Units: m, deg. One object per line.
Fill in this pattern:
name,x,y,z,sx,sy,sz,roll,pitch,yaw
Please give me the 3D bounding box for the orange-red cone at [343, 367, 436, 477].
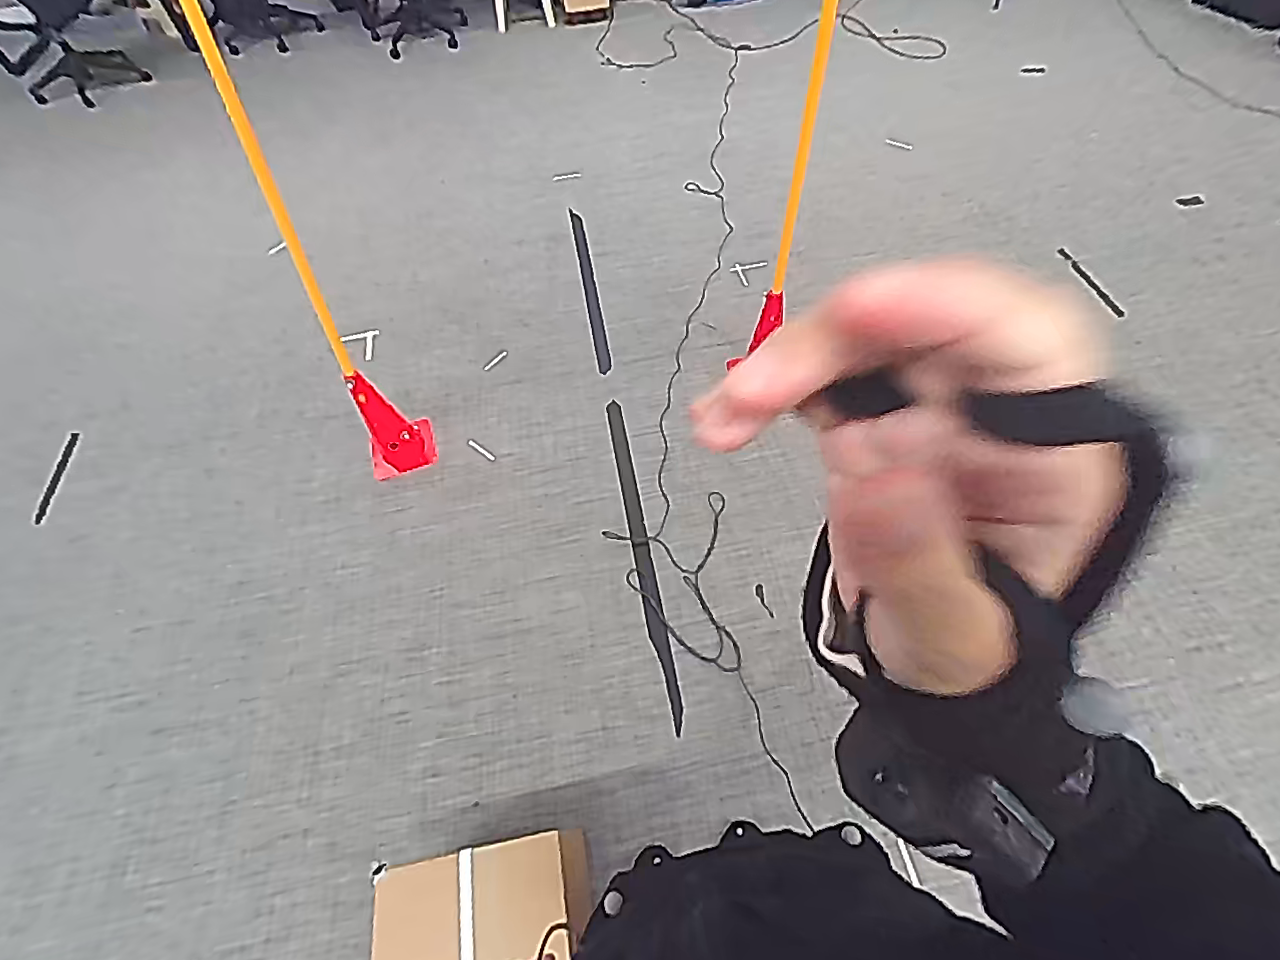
orange-red cone,-0.778,-0.199,1.608,0.199,0.360,0.198,-18,58,-7
